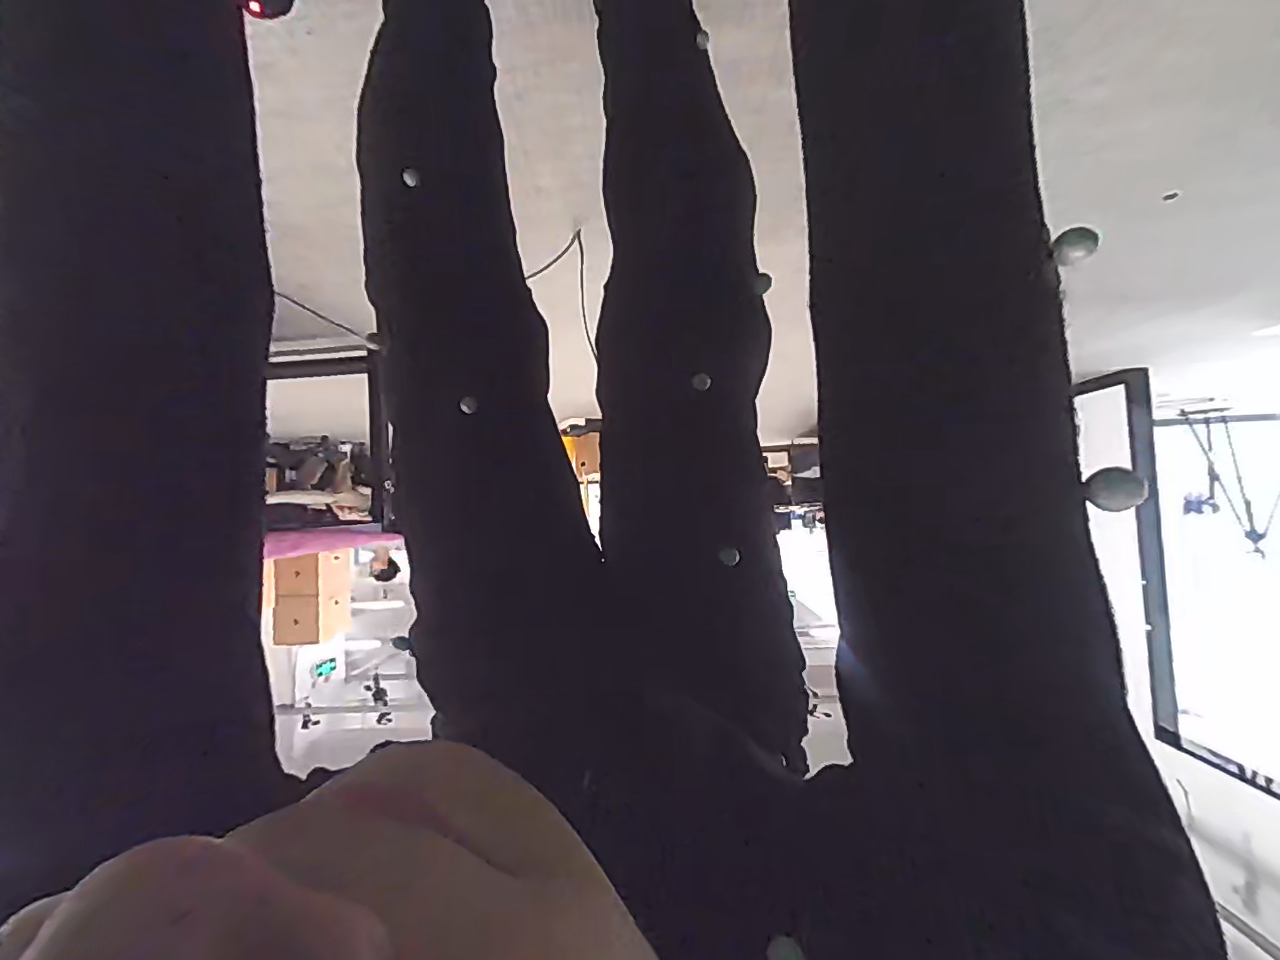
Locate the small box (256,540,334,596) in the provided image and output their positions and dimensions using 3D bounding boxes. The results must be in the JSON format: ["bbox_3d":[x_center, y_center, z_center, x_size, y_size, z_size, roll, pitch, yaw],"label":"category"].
[{"bbox_3d":[-1.192,0.300,1.870,0.179,0.176,0.168,-4,178,5],"label":"small box"}]
